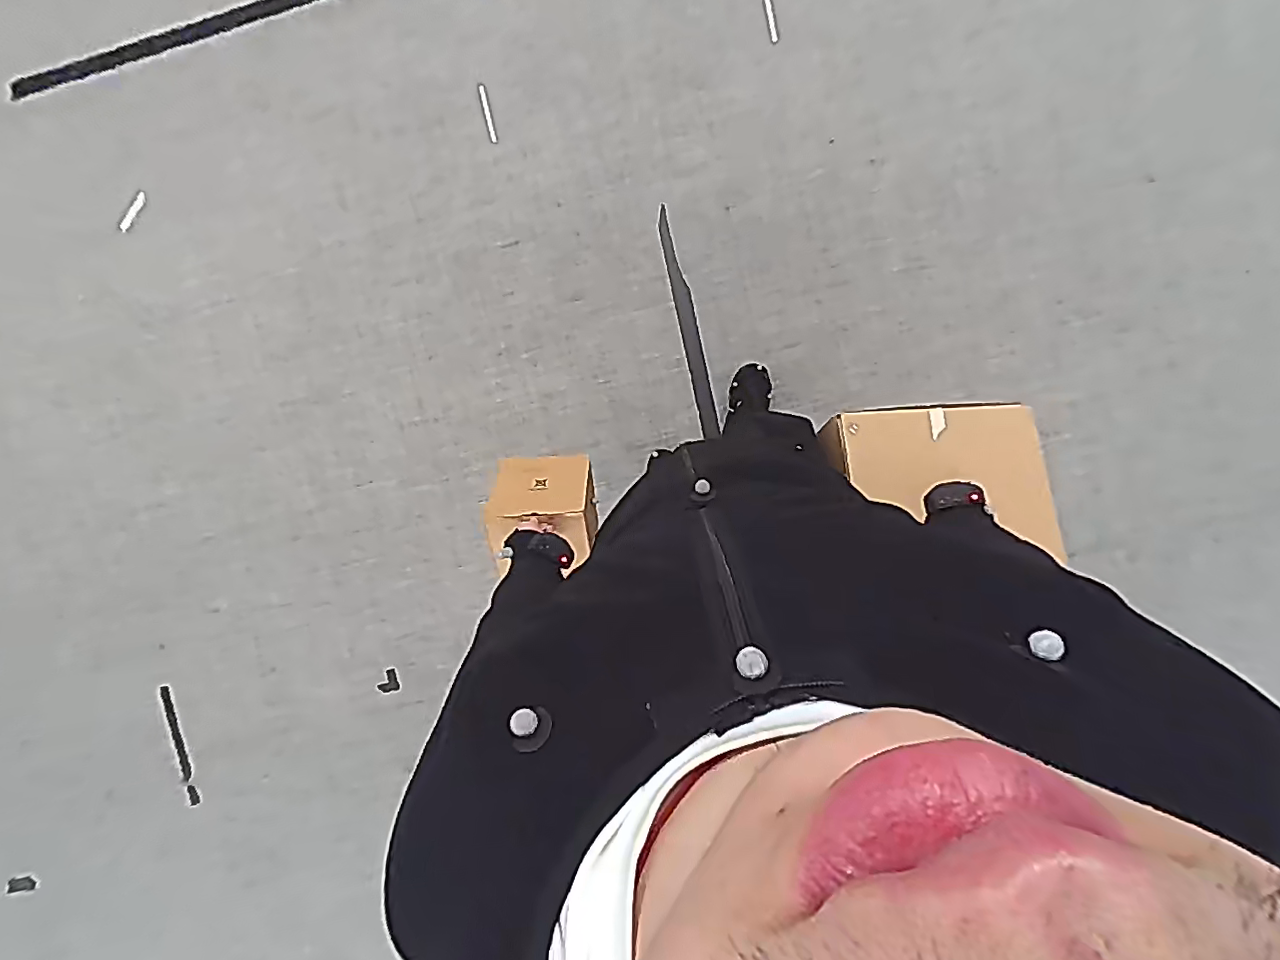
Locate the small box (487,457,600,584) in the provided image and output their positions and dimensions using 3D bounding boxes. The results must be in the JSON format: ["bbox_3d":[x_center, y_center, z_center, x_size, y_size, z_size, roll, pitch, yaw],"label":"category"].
[{"bbox_3d":[-0.166,0.078,0.993,0.168,0.179,0.176,-3,125,1],"label":"small box"}]
